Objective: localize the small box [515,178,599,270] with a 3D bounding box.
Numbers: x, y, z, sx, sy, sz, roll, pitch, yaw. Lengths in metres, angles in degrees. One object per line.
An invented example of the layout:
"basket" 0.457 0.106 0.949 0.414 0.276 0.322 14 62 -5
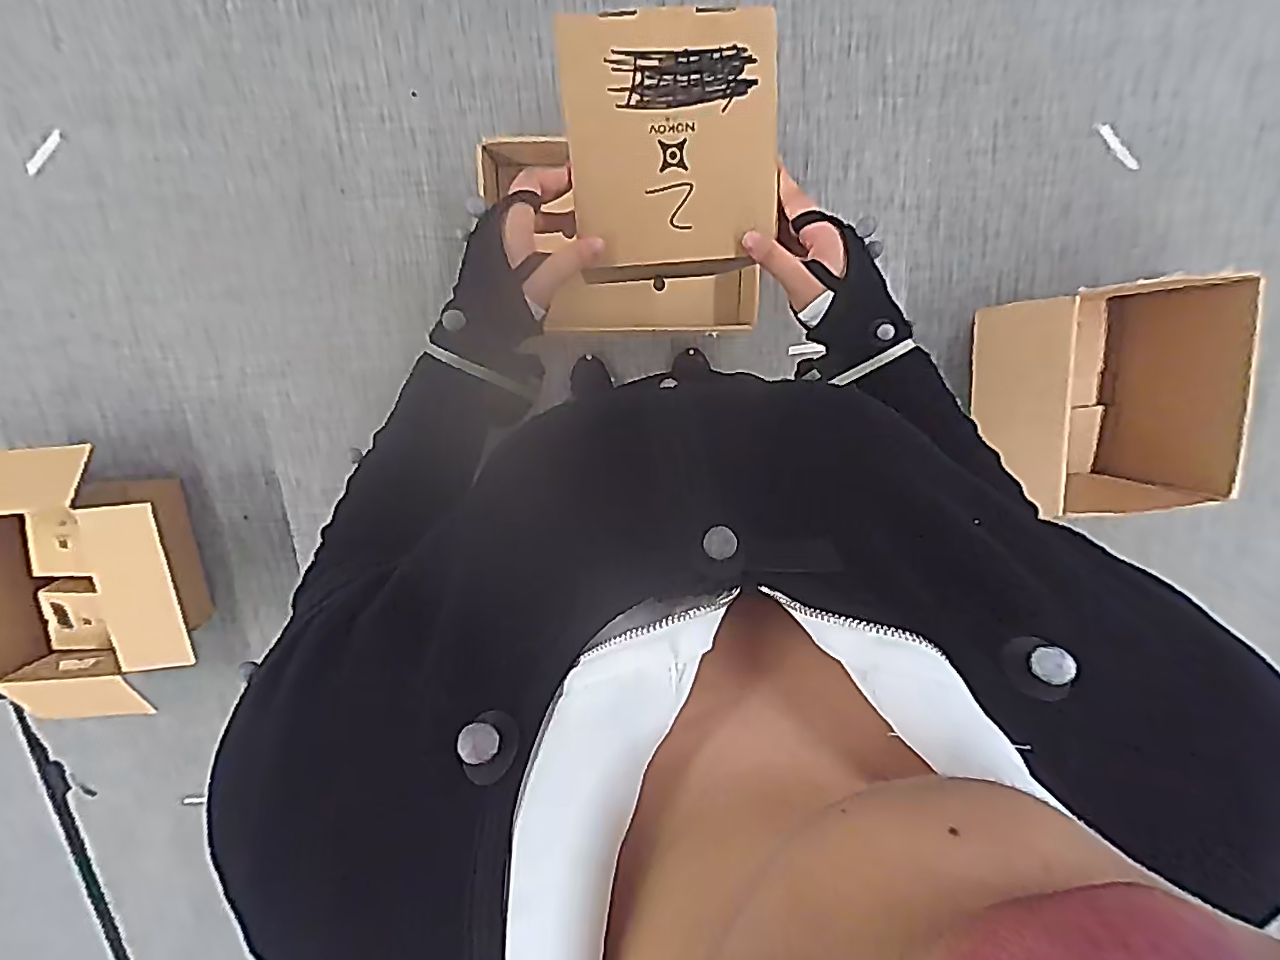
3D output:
"small box" -0.184 -0.579 1.242 0.179 0.176 0.168 -1 105 -4
